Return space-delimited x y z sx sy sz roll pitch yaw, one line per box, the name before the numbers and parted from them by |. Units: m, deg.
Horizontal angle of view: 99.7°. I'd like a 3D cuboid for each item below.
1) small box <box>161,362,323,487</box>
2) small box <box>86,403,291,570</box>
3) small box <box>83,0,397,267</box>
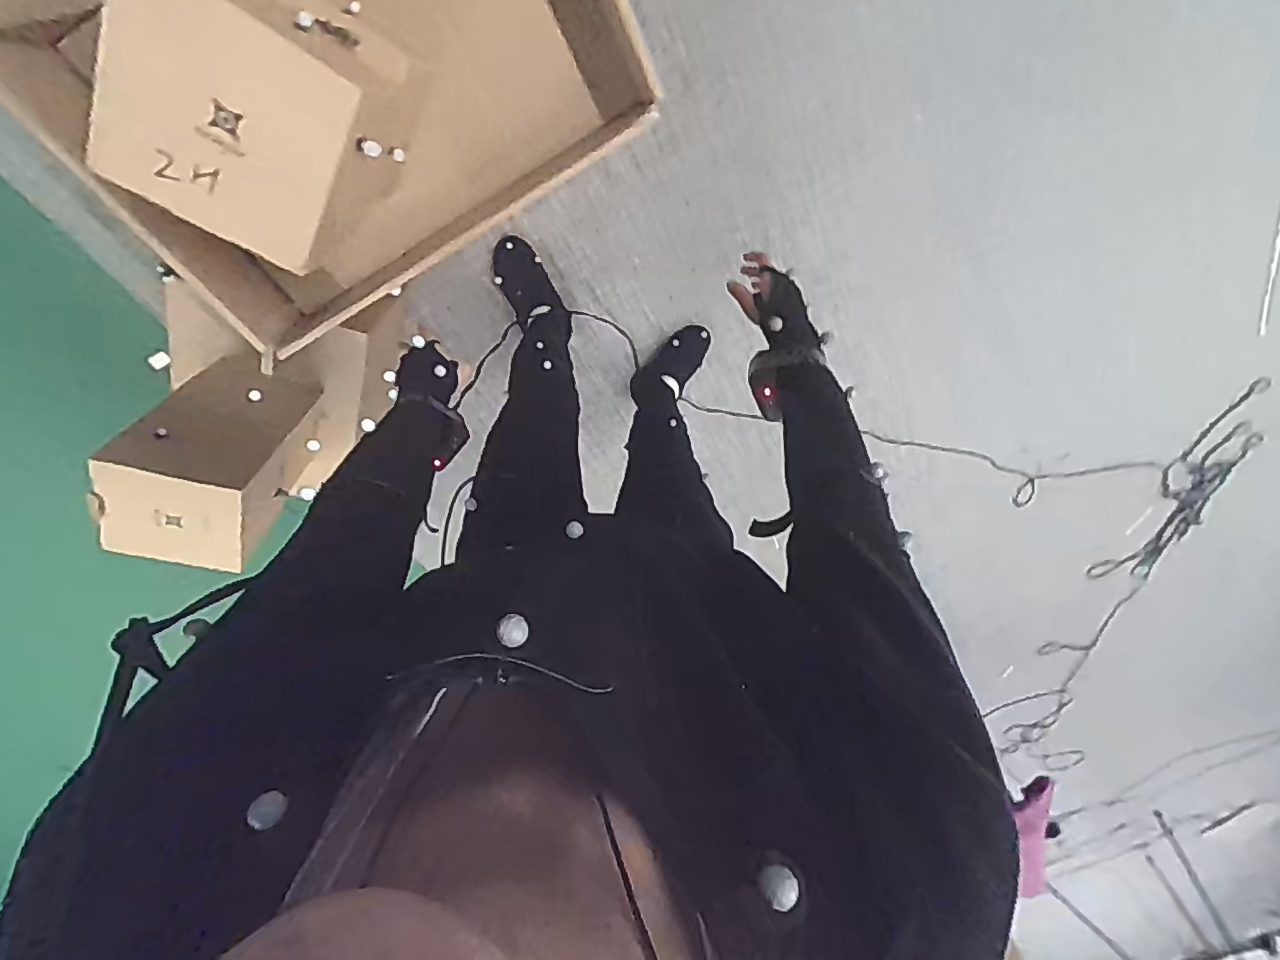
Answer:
small box | -0.689 -0.086 0.945 0.179 0.176 0.168 18 120 -20
small box | -0.661 0.004 0.812 0.179 0.176 0.168 16 121 -19
small box | -0.345 -0.336 0.498 0.168 0.176 0.179 26 118 -23
